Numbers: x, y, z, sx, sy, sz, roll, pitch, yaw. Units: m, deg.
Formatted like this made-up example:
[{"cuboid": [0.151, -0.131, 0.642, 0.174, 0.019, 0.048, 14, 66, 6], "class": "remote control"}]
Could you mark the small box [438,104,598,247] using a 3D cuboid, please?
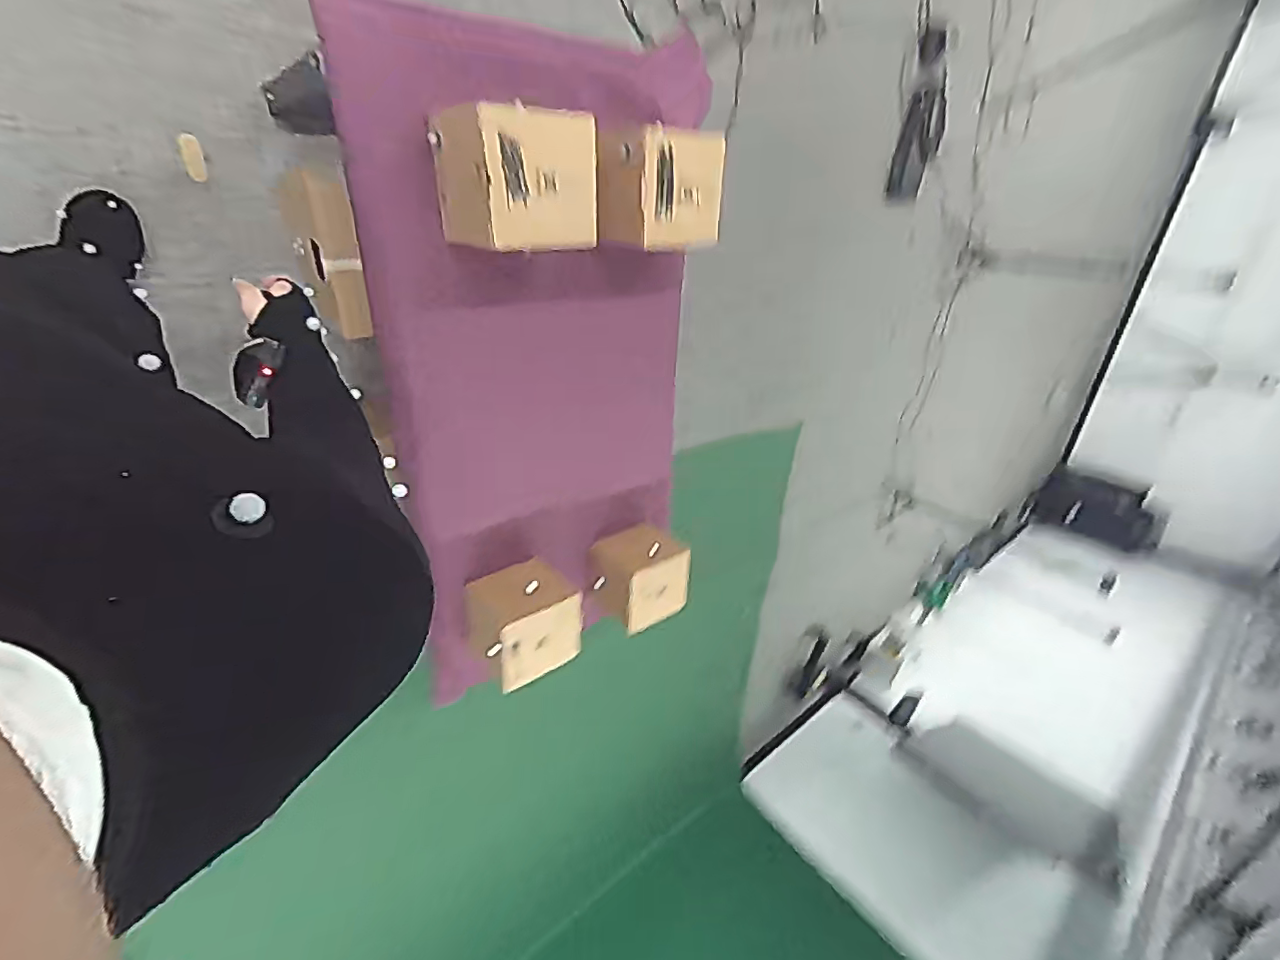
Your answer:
[{"cuboid": [-0.181, -0.437, 0.796, 0.179, 0.176, 0.168, -21, 125, -36], "class": "small box"}]

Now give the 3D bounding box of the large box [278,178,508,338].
[{"cuboid": [-0.590, -0.556, 1.325, 0.408, 0.320, 0.320, -21, 126, -36], "class": "large box"}]

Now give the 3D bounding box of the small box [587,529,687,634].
[{"cuboid": [-0.009, 0.238, 1.322, 0.179, 0.176, 0.168, -15, 119, -36], "class": "small box"}]

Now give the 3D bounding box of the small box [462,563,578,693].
[{"cuboid": [-0.250, 0.297, 1.128, 0.179, 0.176, 0.168, -17, 121, -39], "class": "small box"}]
